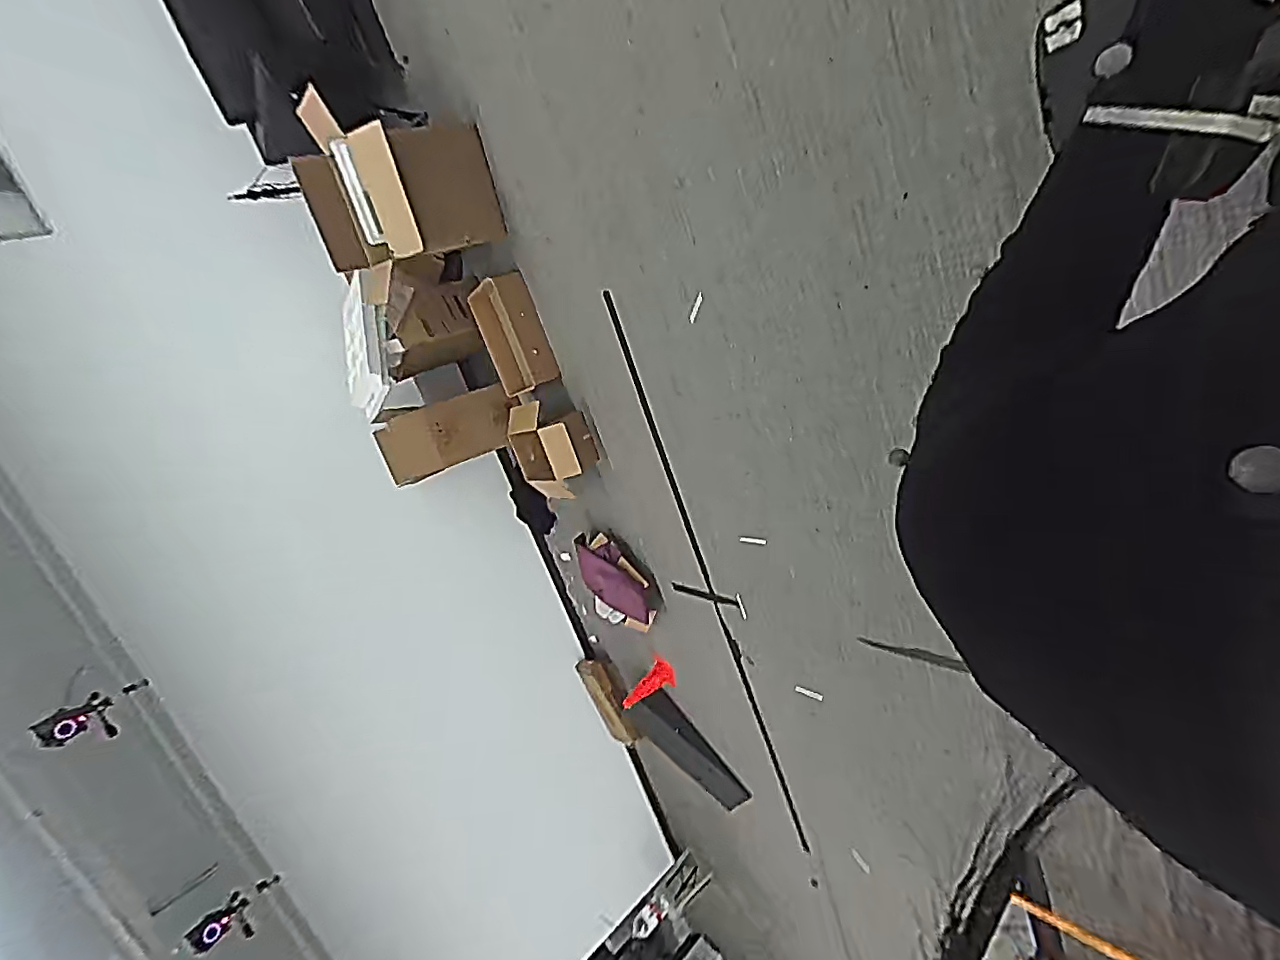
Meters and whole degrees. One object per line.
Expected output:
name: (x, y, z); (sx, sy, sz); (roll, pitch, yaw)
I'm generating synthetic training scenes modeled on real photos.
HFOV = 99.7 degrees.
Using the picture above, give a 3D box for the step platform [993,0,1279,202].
step platform: (0.831, -0.608, 0.628); (0.684, 0.204, 0.286); (-3, 111, 55)
